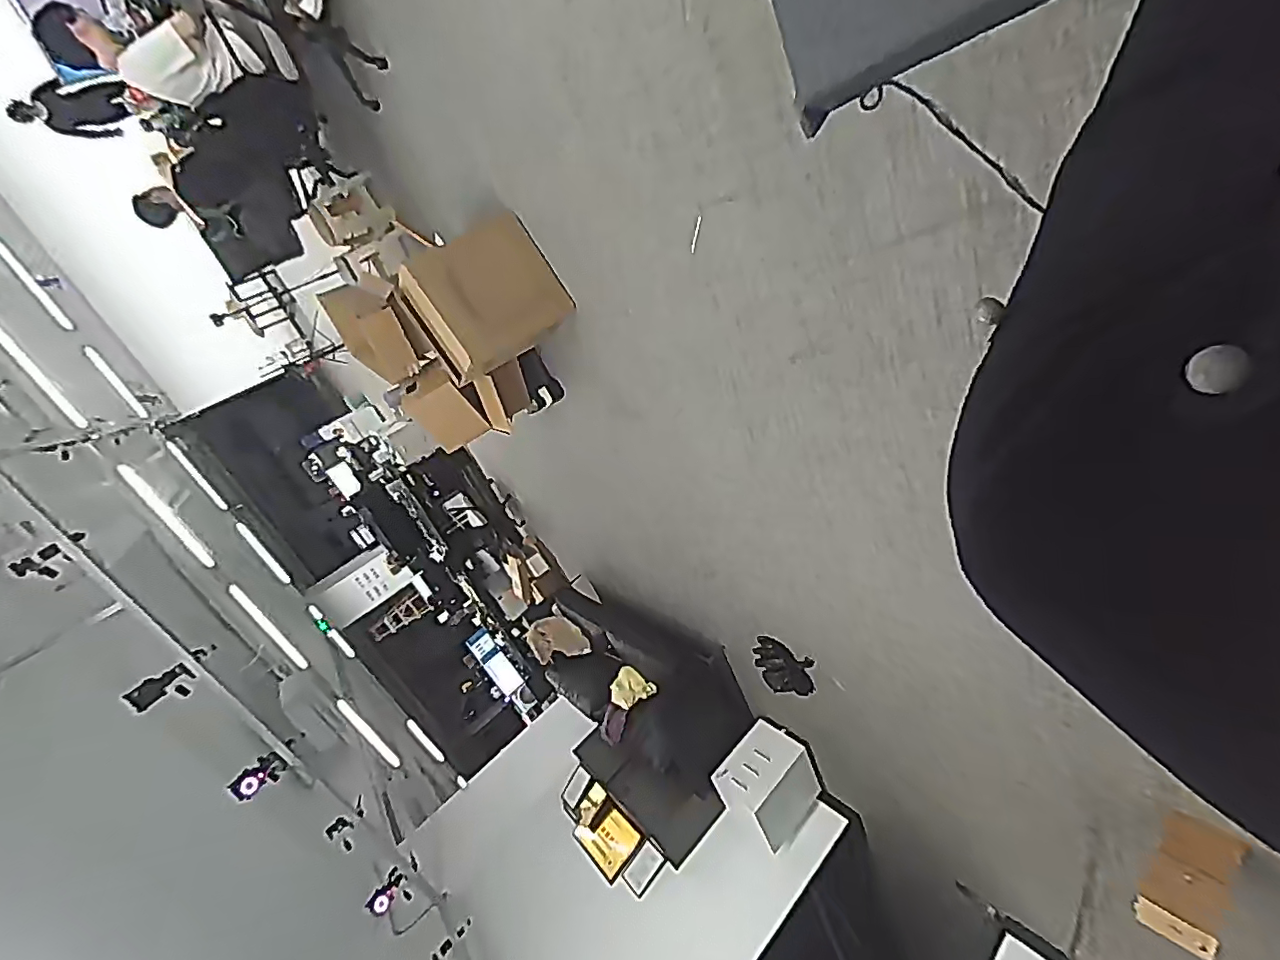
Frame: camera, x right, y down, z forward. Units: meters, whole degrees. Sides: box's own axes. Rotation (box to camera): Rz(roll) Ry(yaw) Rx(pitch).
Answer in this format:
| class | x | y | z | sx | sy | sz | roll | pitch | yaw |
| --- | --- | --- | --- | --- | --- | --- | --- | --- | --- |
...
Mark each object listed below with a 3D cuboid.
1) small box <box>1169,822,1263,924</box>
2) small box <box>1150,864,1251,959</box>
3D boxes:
| class | x | y | z | sx | sy | sz | roll | pitch | yaw |
| --- | --- | --- | --- | --- | --- | --- | --- | --- | --- |
| small box | 1.804 | 1.220 | 1.699 | 0.179 | 0.176 | 0.168 | 11 | 133 | 52 |
| small box | 1.685 | 1.308 | 1.629 | 0.179 | 0.176 | 0.168 | 16 | 137 | 52 |
